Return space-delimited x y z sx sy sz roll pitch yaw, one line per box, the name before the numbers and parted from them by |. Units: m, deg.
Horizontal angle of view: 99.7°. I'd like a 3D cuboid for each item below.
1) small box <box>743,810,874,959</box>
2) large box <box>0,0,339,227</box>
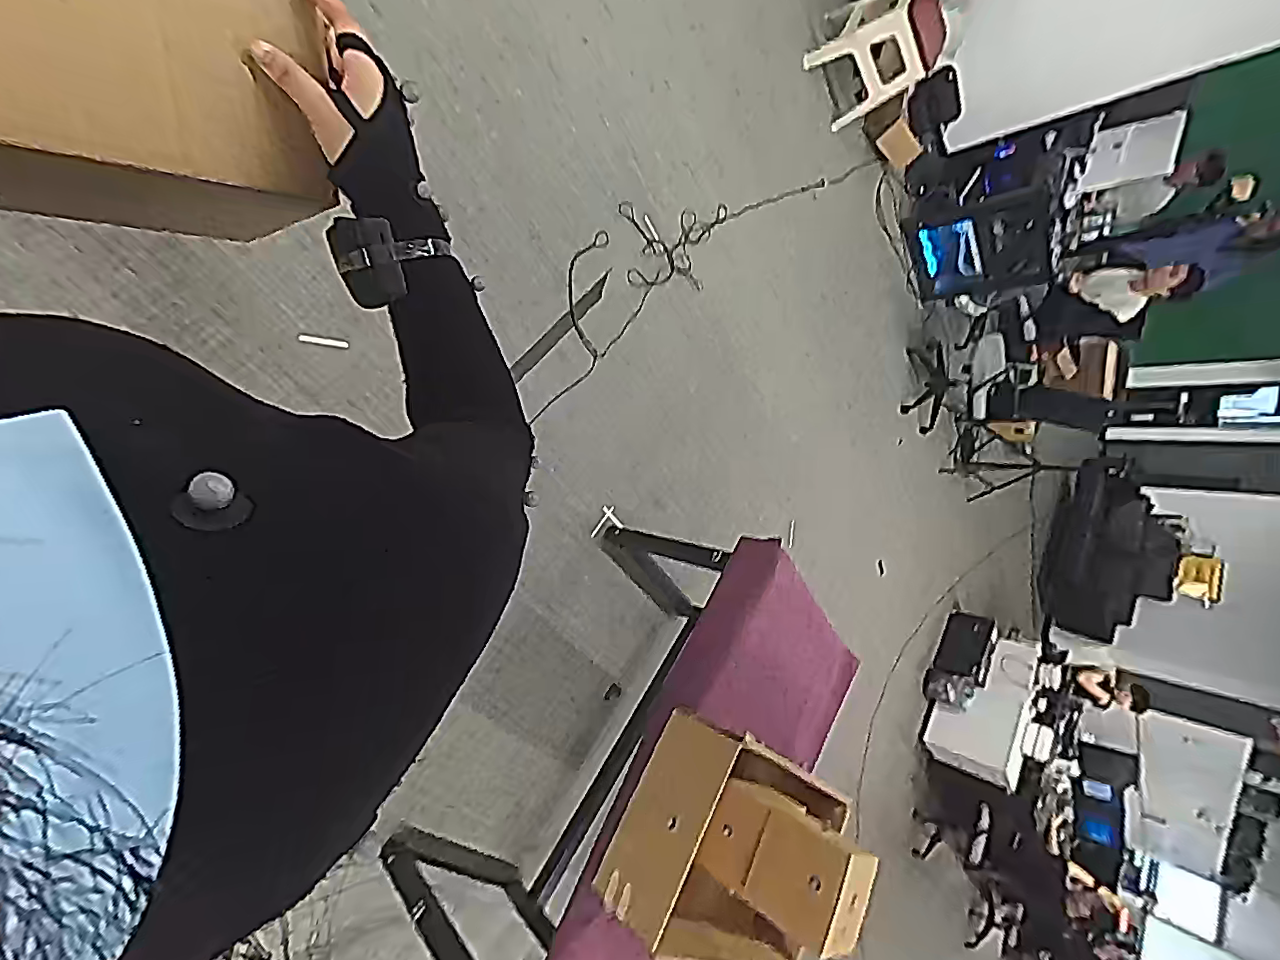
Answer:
small box | 0.326 0.779 1.053 0.168 0.176 0.179 41 69 -39
large box | -0.485 -0.374 0.364 0.408 0.320 0.320 -14 110 -44
